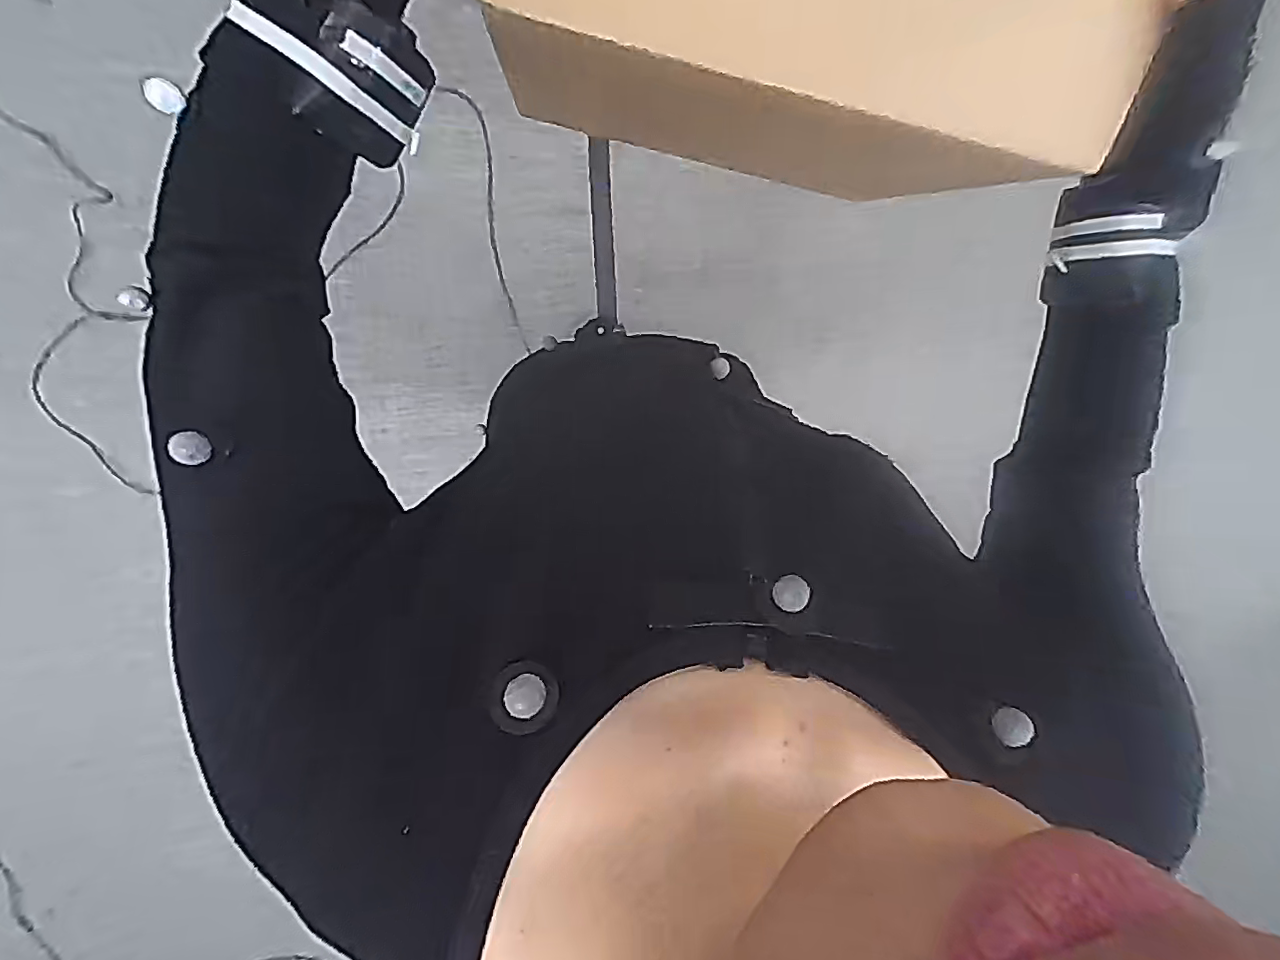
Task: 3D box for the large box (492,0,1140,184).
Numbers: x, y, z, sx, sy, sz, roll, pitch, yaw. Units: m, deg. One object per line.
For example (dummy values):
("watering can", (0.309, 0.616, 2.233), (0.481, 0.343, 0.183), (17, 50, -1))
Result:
("large box", (0.108, -0.443, 0.410), (0.408, 0.320, 0.320), (5, 114, -11))
